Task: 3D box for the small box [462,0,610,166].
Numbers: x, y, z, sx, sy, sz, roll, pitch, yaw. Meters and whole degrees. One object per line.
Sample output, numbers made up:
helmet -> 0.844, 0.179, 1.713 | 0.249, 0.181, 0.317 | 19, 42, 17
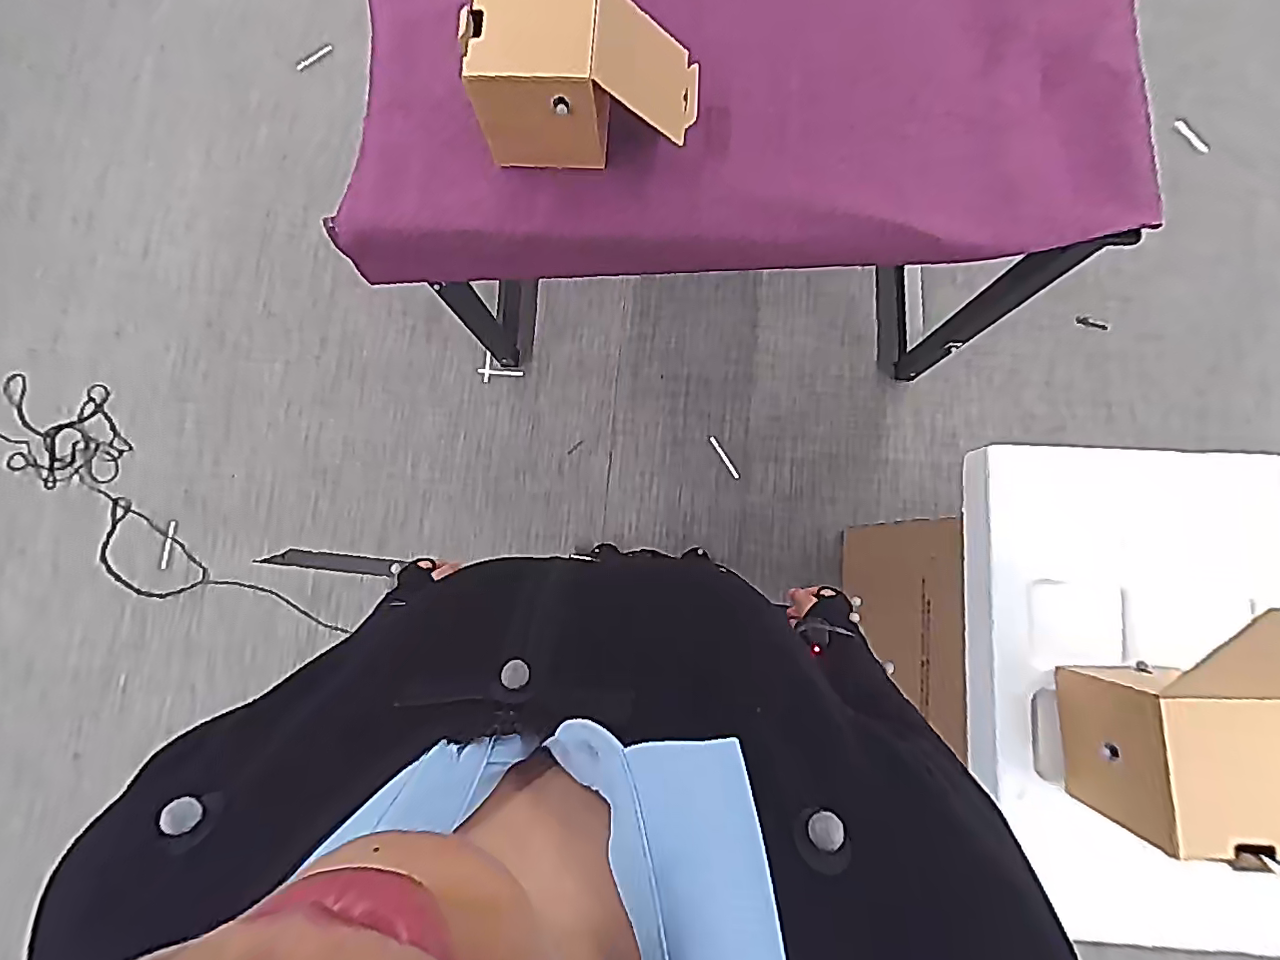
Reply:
small box -> -0.141, -0.595, 0.801 | 0.179, 0.176, 0.168 | 3, 81, 3
